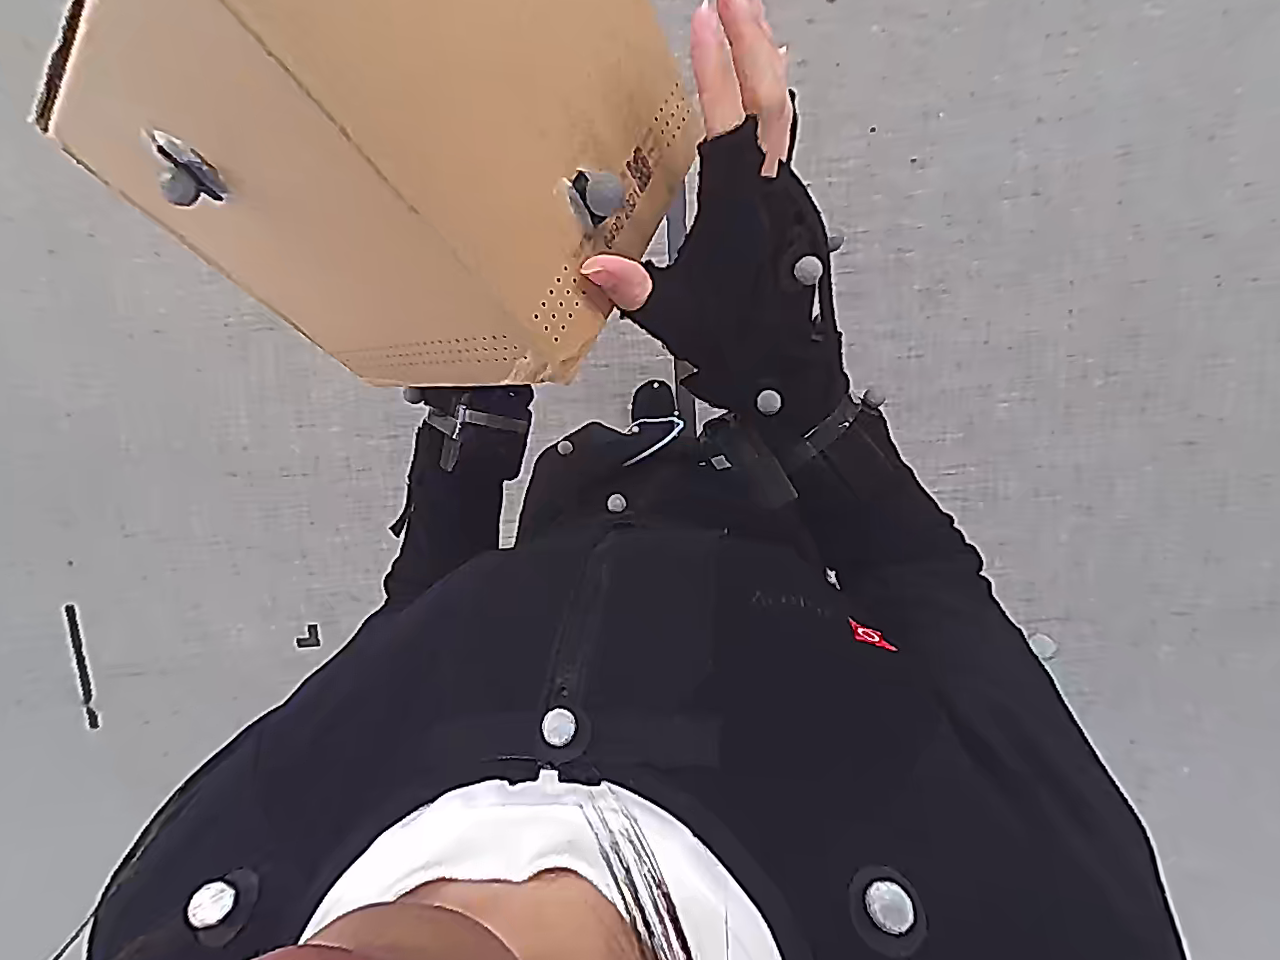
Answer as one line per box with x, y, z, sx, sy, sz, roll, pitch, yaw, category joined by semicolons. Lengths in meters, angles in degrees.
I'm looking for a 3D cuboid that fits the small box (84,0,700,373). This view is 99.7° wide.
-0.101;-0.166;0.263;0.179;0.176;0.168;8;65;38;small box
